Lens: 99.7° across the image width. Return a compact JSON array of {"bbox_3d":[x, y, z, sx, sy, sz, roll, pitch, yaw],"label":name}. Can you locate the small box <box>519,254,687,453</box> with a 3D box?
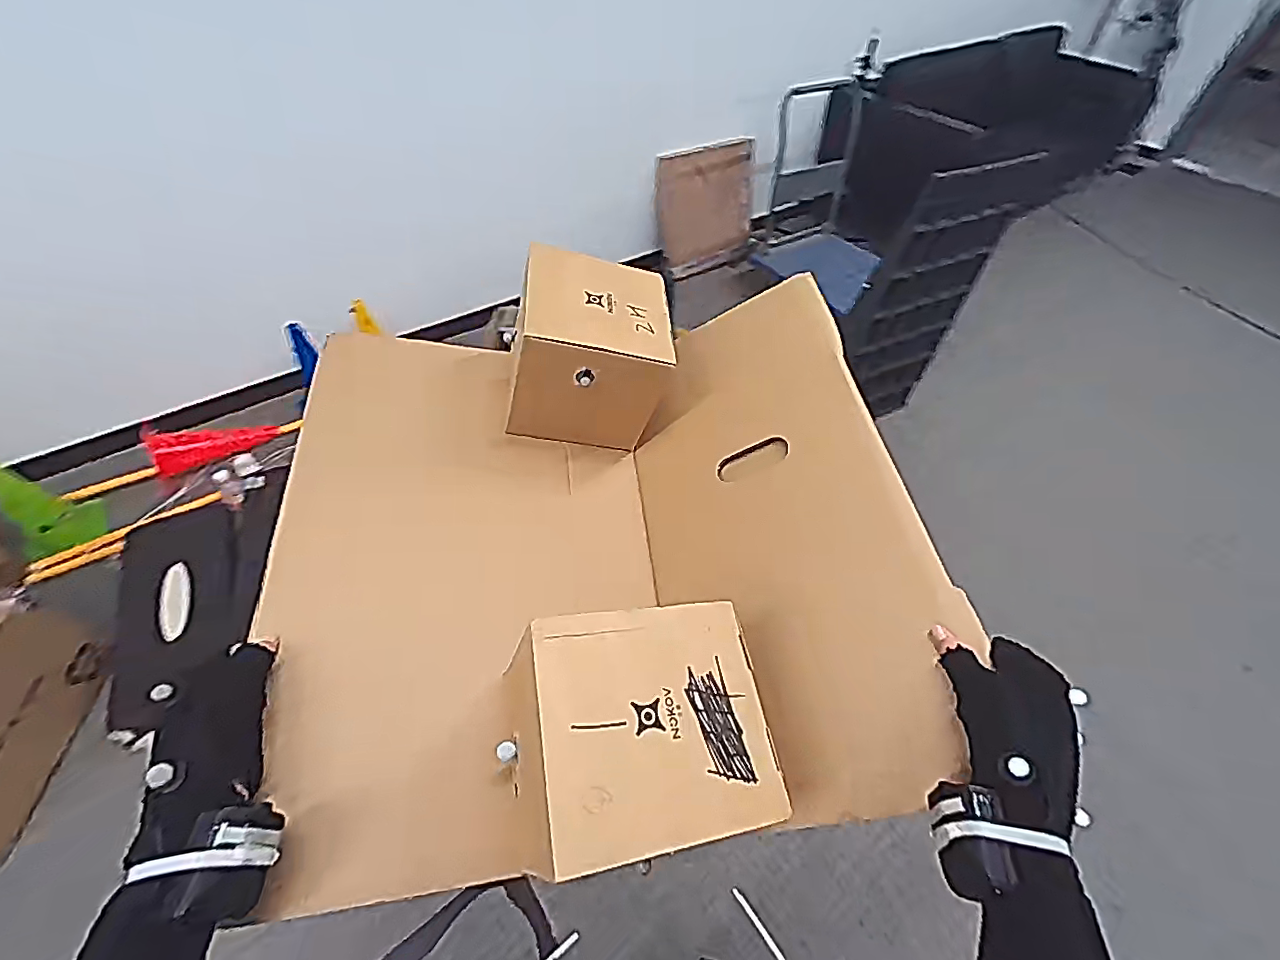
[{"bbox_3d":[-0.055,-0.153,0.698,0.179,0.176,0.168,9,55,-16],"label":"small box"}]
